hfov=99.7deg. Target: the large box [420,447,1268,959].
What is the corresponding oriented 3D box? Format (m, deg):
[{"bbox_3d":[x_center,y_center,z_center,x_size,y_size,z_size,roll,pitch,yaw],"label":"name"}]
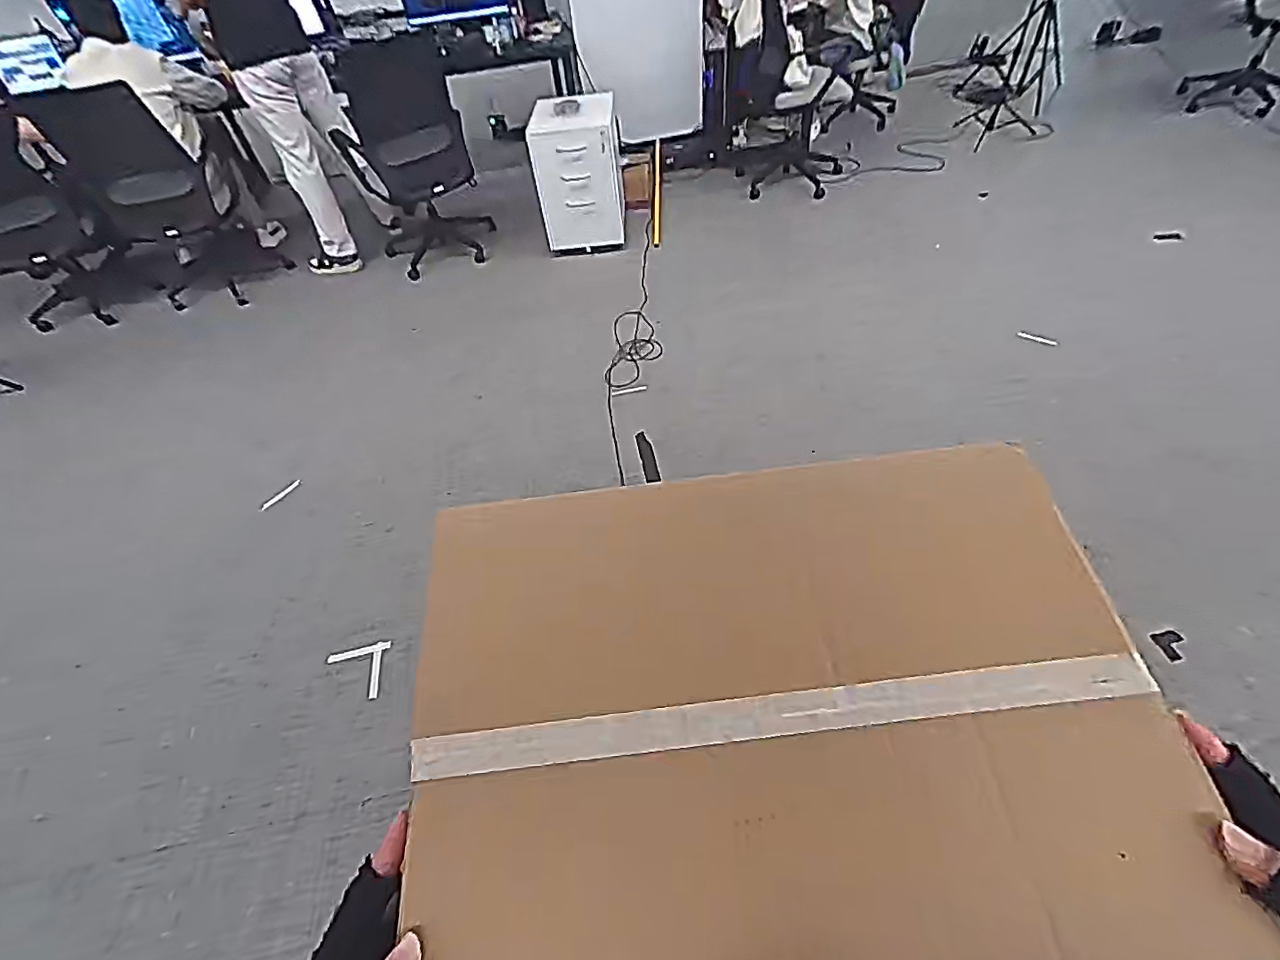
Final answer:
[{"bbox_3d":[0.085,0.207,0.443,0.408,0.320,0.320,-7,61,1],"label":"large box"}]
